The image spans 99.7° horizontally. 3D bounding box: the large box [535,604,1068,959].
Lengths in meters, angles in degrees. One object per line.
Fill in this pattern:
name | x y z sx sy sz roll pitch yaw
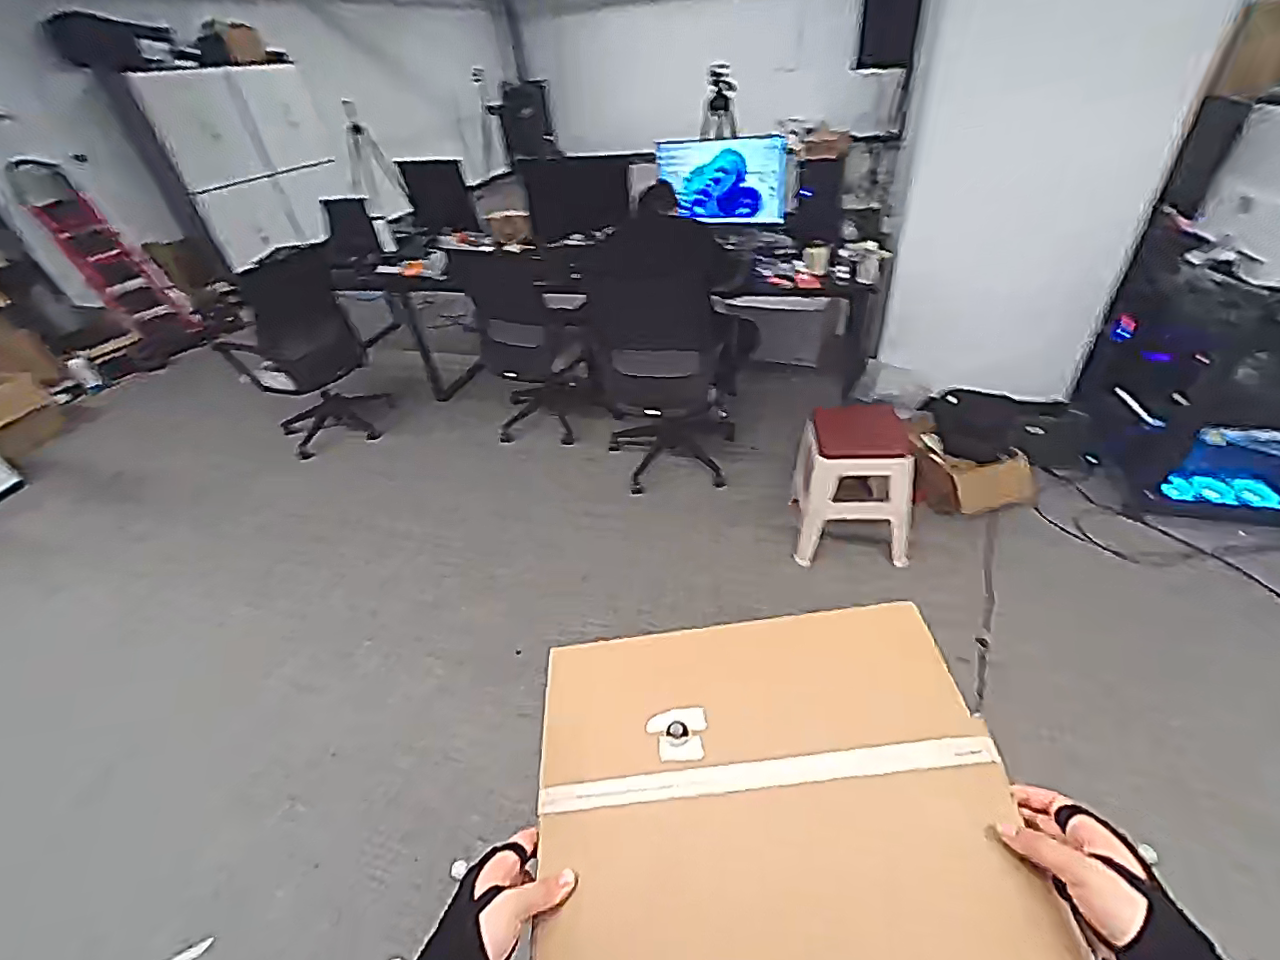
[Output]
large box | 0.128 0.381 0.603 0.408 0.320 0.320 -11 43 4
